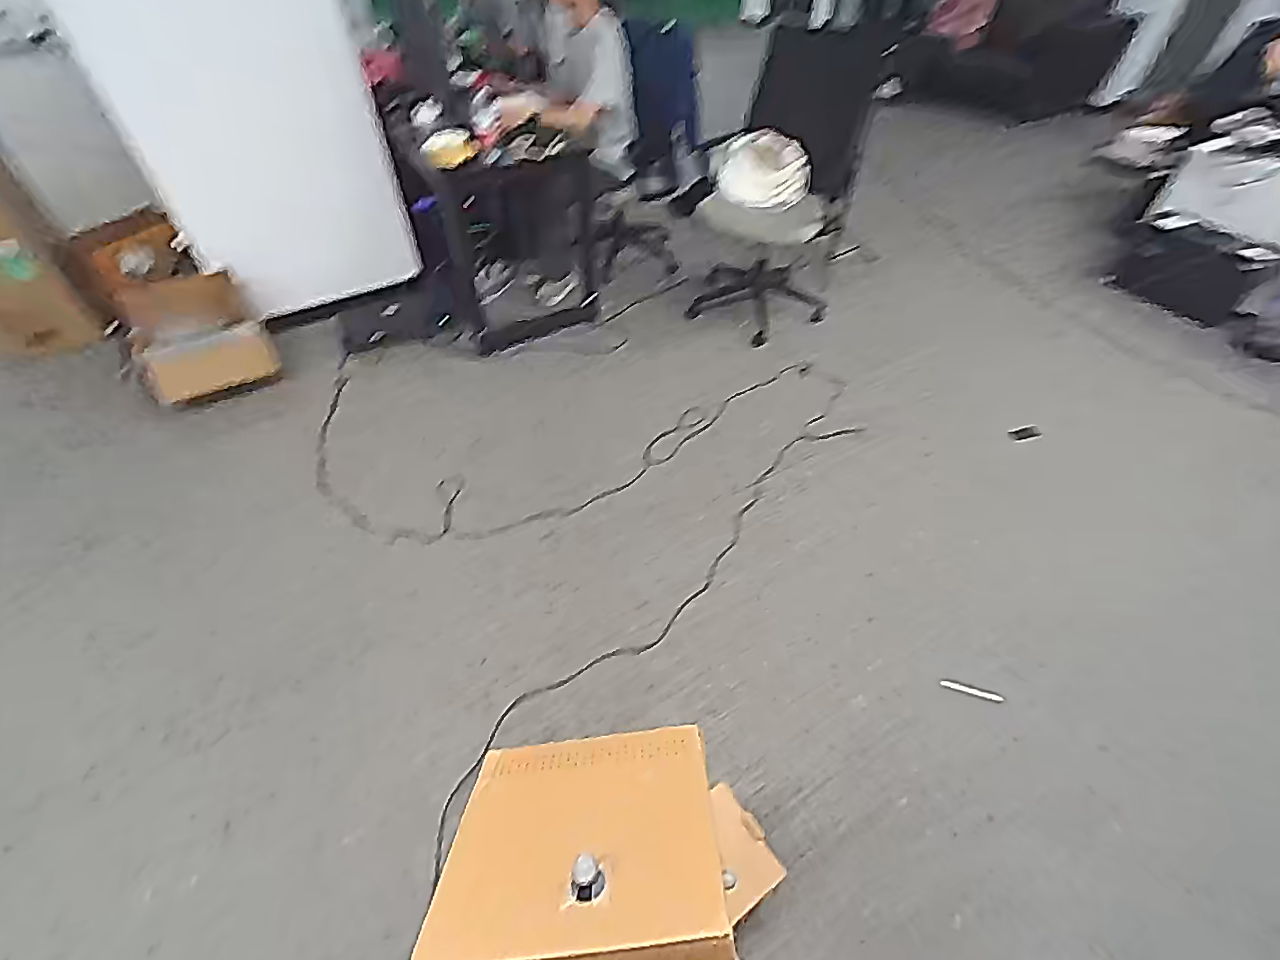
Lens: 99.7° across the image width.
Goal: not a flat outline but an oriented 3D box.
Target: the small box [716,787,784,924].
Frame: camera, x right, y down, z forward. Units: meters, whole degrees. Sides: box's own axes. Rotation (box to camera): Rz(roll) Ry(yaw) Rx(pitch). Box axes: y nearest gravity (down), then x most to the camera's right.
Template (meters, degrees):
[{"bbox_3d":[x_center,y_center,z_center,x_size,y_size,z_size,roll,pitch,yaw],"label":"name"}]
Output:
[{"bbox_3d":[0.115,0.678,0.937,0.179,0.176,0.168,-25,52,-23],"label":"small box"}]

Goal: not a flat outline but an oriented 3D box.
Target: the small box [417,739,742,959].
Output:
[{"bbox_3d":[-0.025,0.308,0.371,0.179,0.168,0.176,-7,13,1],"label":"small box"}]
